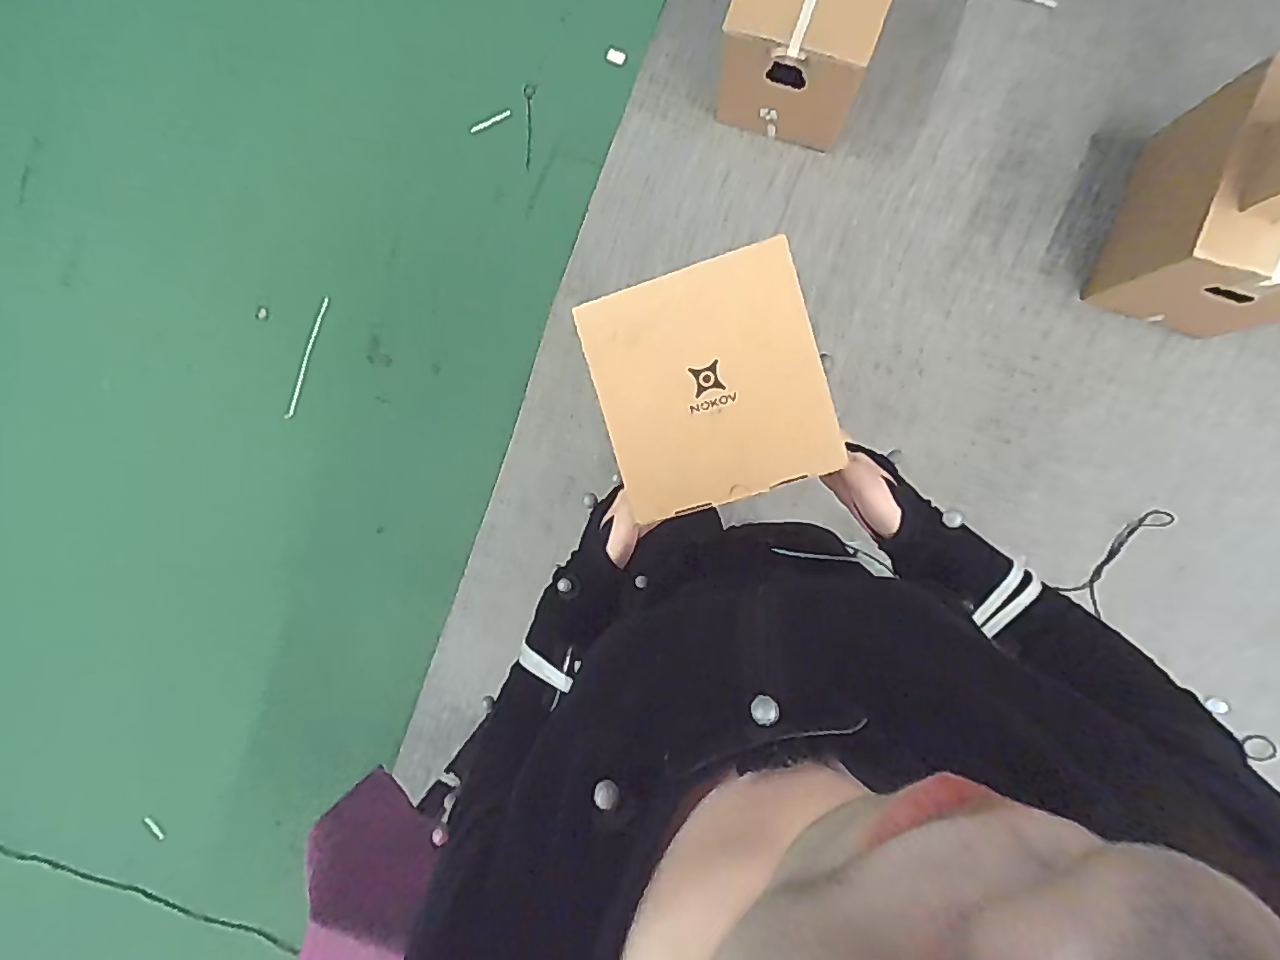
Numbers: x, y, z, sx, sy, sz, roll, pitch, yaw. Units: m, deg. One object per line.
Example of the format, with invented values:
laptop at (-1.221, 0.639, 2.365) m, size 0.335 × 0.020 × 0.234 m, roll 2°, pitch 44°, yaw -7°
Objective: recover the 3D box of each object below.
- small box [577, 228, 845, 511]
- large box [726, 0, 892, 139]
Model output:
small box at (0.060, -0.086, 0.483) m, size 0.168 × 0.176 × 0.179 m, roll -17°, pitch 94°, yaw 9°
large box at (0.405, -1.094, 1.237) m, size 0.320 × 0.320 × 0.408 m, roll 21°, pitch 94°, yaw 6°
